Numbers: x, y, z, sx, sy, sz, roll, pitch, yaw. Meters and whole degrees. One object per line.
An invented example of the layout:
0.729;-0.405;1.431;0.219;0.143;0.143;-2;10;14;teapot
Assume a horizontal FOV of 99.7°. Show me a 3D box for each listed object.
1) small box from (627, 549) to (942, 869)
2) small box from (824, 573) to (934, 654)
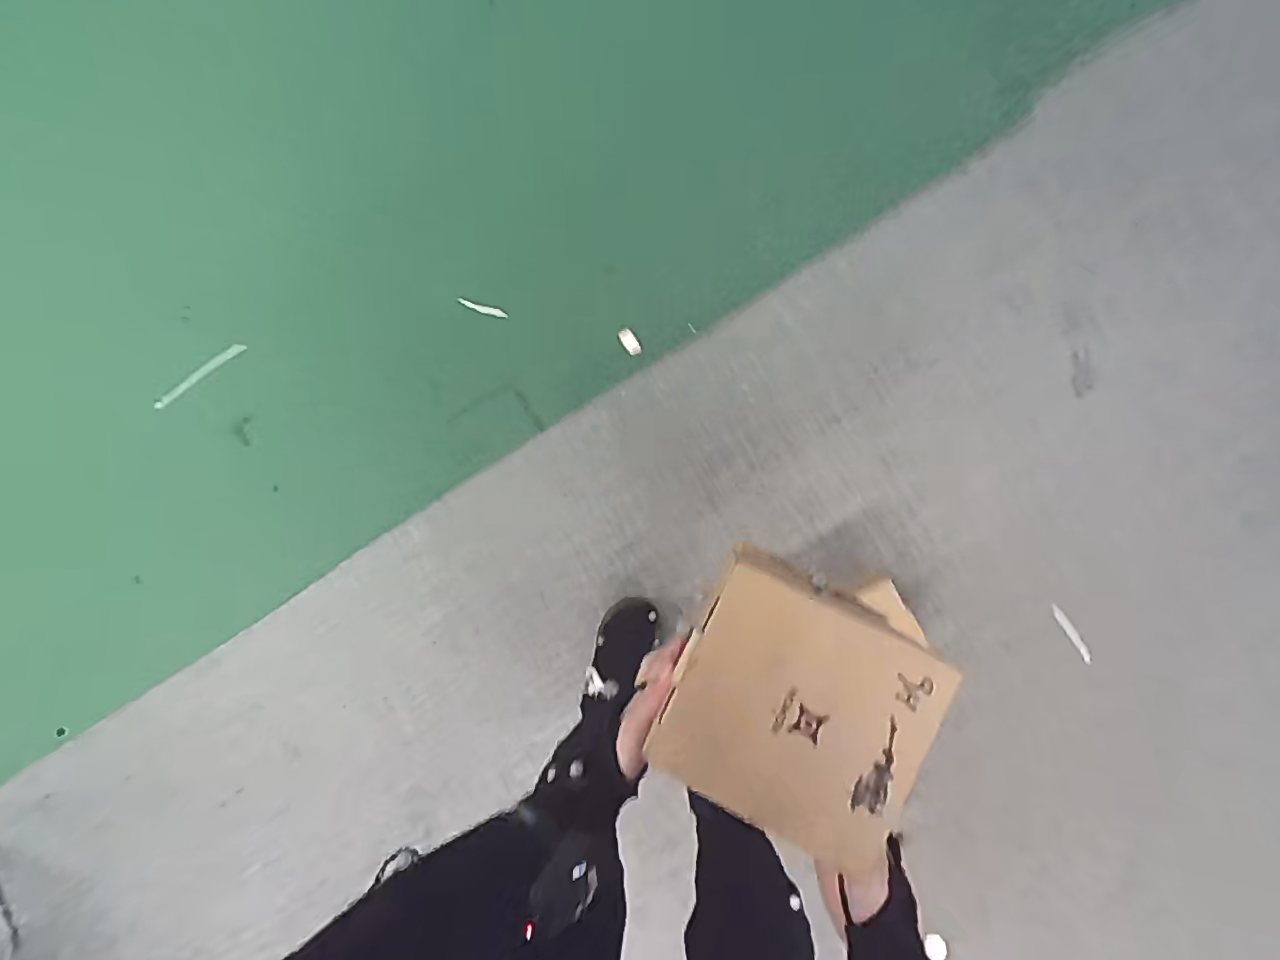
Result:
0.112;0.169;0.467;0.179;0.176;0.168;25;90;10;small box
0.412;0.289;1.011;0.179;0.176;0.168;-30;82;9;small box
